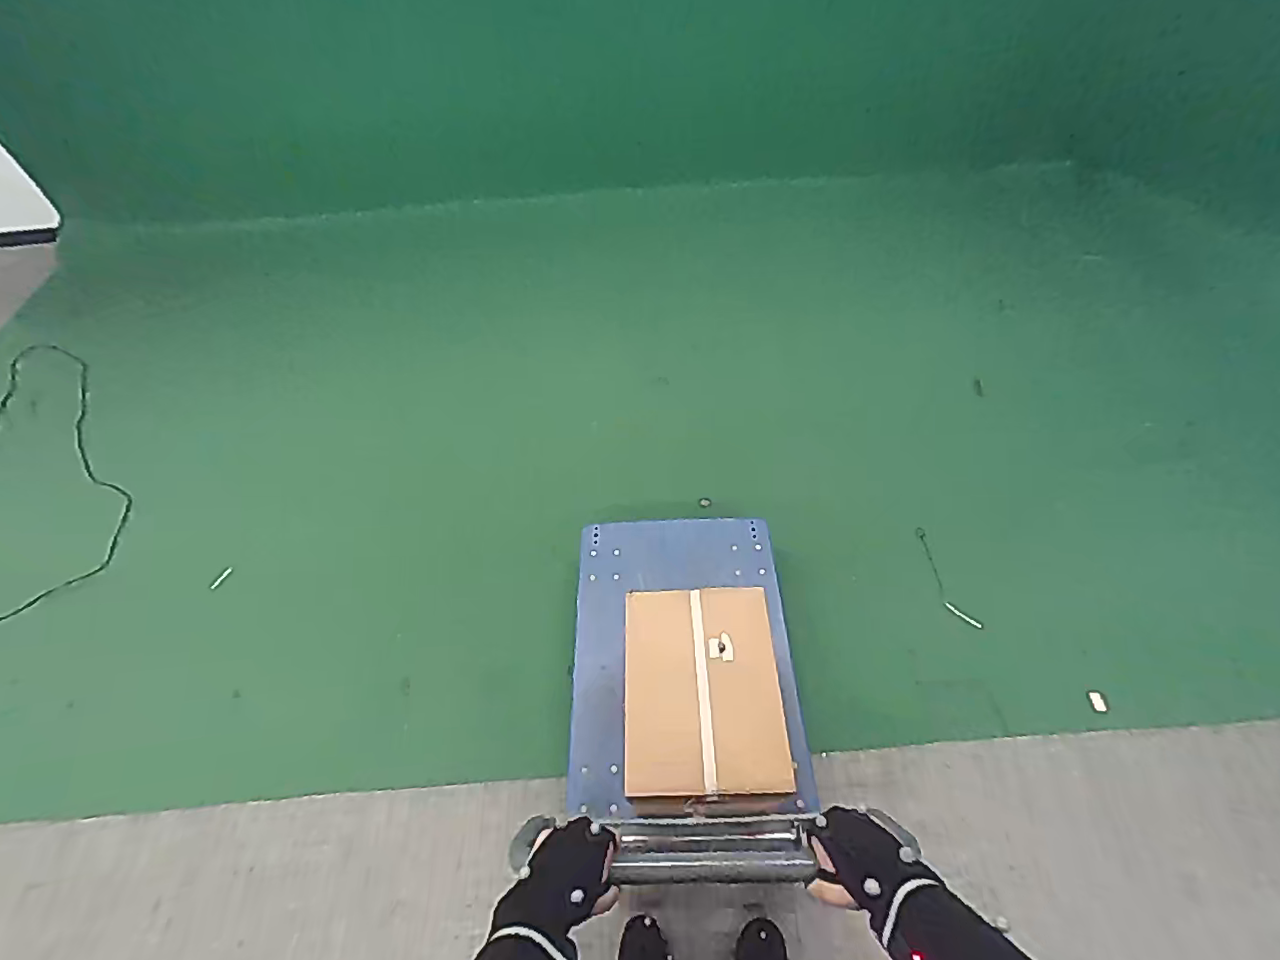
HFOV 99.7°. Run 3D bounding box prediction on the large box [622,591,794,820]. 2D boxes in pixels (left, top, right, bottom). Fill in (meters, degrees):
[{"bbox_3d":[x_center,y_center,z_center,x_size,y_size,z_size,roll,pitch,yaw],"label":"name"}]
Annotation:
[{"bbox_3d":[0.130,0.508,1.217,0.320,0.320,0.408,-3,52,1],"label":"large box"}]
